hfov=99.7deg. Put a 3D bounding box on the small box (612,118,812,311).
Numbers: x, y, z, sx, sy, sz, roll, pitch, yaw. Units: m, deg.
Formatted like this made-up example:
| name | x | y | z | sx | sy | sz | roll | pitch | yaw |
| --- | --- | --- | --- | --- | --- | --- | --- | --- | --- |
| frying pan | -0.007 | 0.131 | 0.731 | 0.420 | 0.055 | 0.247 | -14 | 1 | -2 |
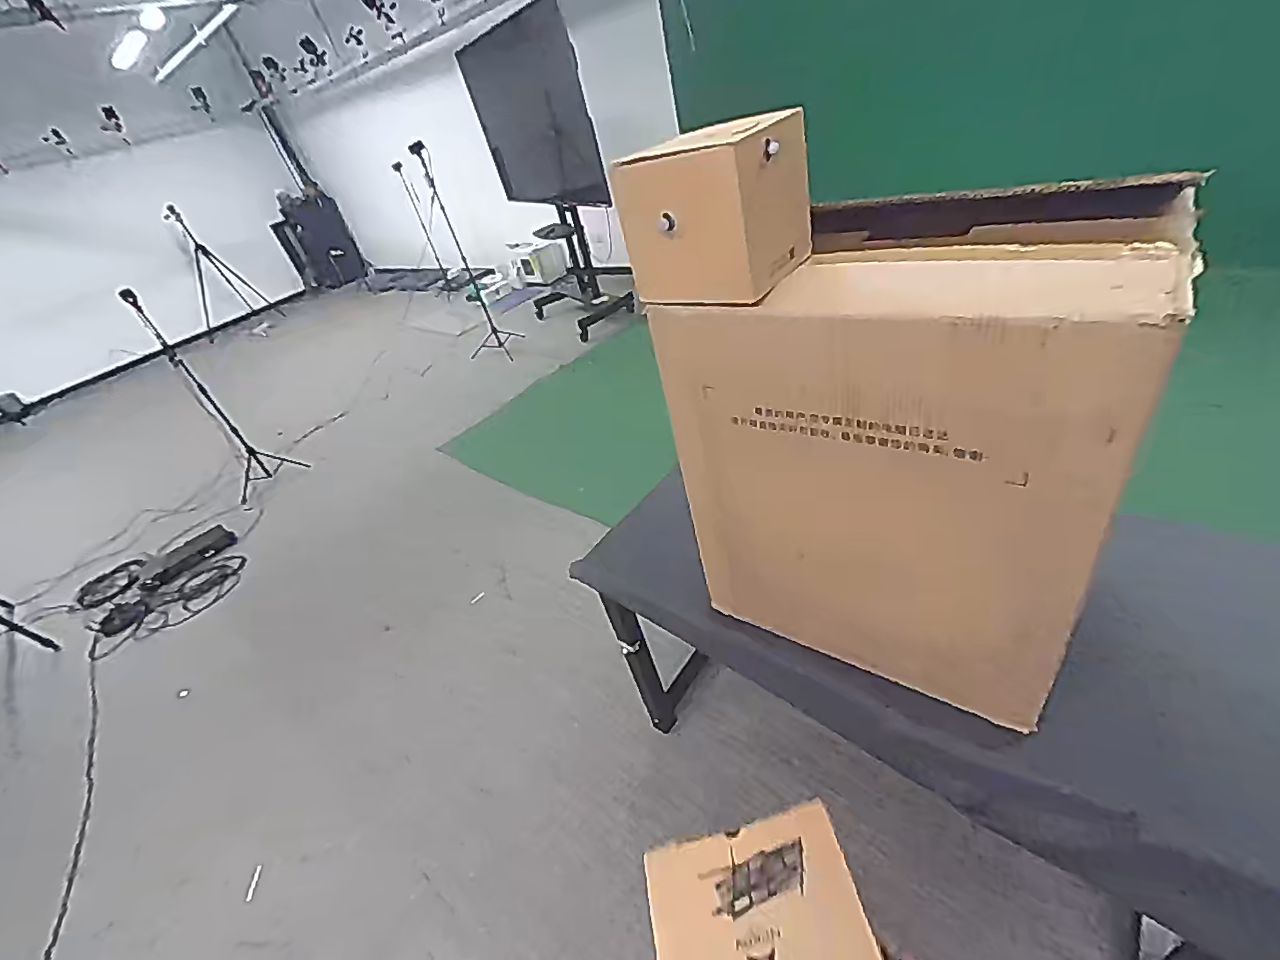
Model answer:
| name | x | y | z | sx | sy | sz | roll | pitch | yaw |
| --- | --- | --- | --- | --- | --- | --- | --- | --- | --- |
| small box | 0.098 | -0.321 | 0.674 | 0.179 | 0.176 | 0.168 | 15 | 46 | 37 |
